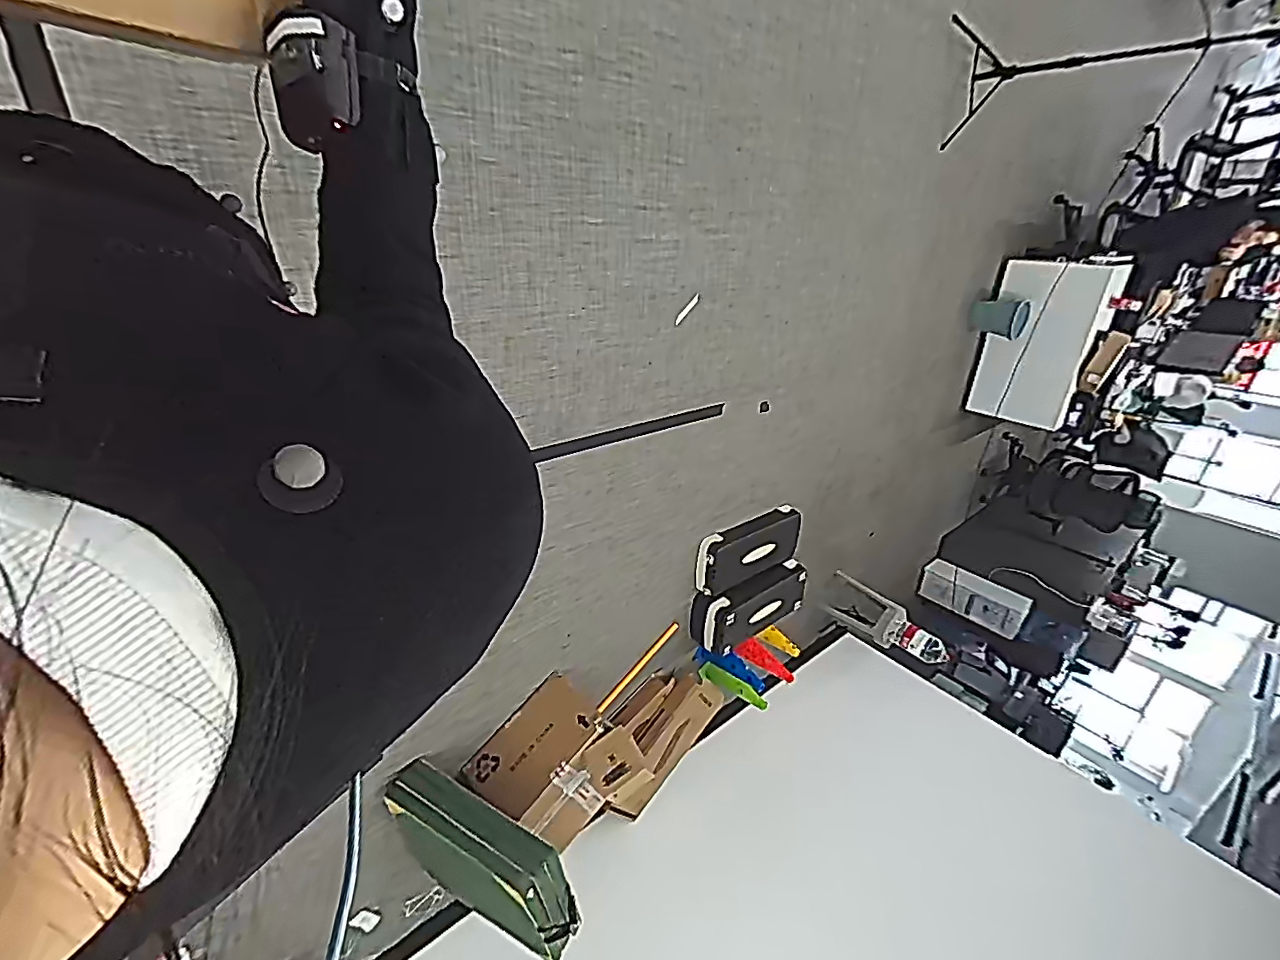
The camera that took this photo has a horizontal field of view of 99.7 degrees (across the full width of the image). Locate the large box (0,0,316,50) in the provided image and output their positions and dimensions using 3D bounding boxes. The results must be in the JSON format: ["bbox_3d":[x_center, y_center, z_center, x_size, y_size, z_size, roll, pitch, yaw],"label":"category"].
[{"bbox_3d":[-0.447,-0.450,0.263,0.408,0.320,0.320,-18,131,-40],"label":"large box"}]
